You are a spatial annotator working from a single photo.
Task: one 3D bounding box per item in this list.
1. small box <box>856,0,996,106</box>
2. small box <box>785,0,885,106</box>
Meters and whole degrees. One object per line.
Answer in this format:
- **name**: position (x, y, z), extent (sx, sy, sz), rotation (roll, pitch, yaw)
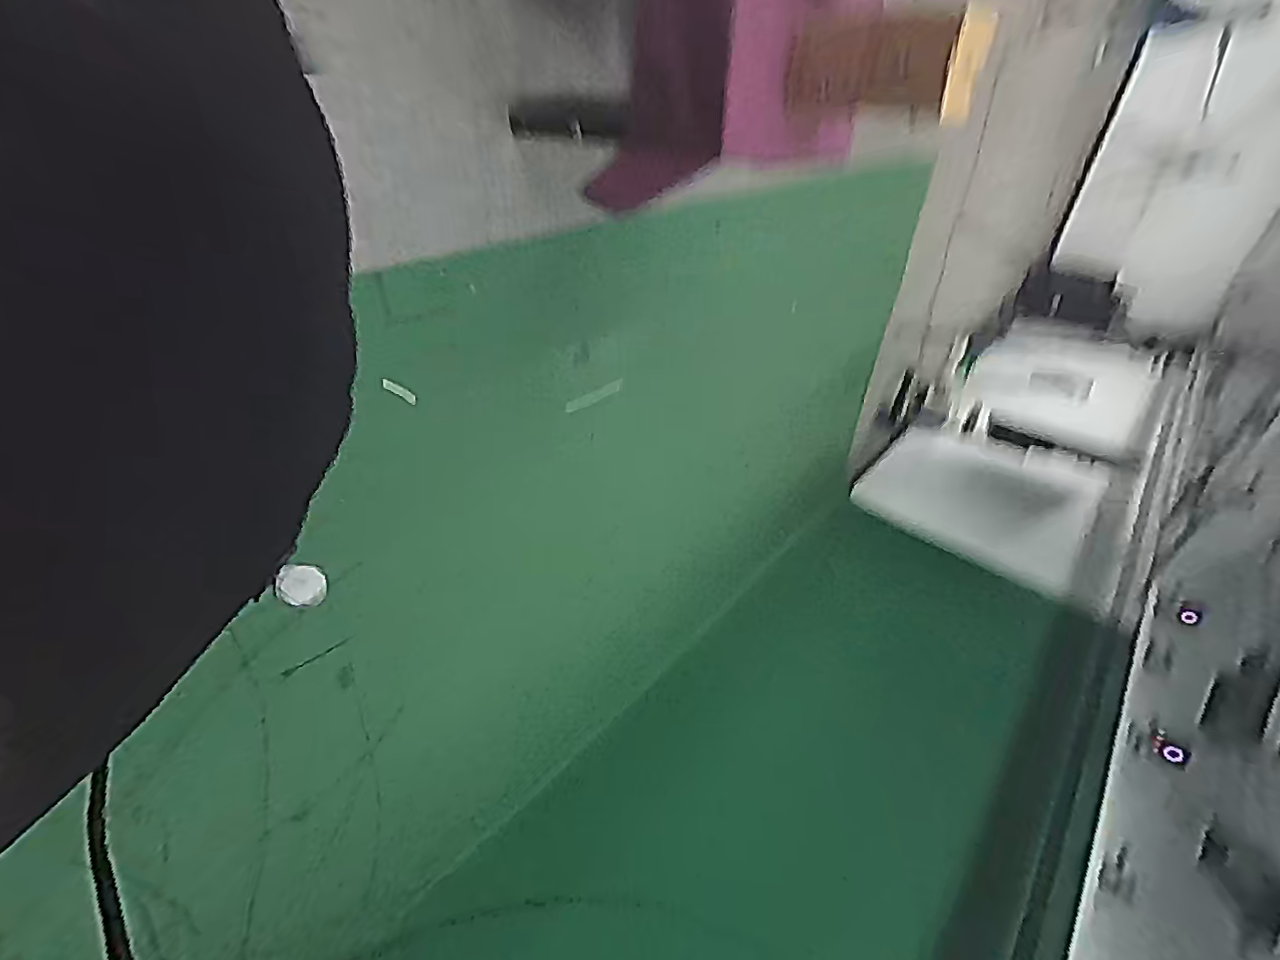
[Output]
- **small box**: position (0.551, -0.835, 1.058), extent (0.179, 0.176, 0.168), rotation (-31, 138, -36)
- **small box**: position (0.430, -0.899, 1.150), extent (0.179, 0.176, 0.168), rotation (-32, 138, -37)
